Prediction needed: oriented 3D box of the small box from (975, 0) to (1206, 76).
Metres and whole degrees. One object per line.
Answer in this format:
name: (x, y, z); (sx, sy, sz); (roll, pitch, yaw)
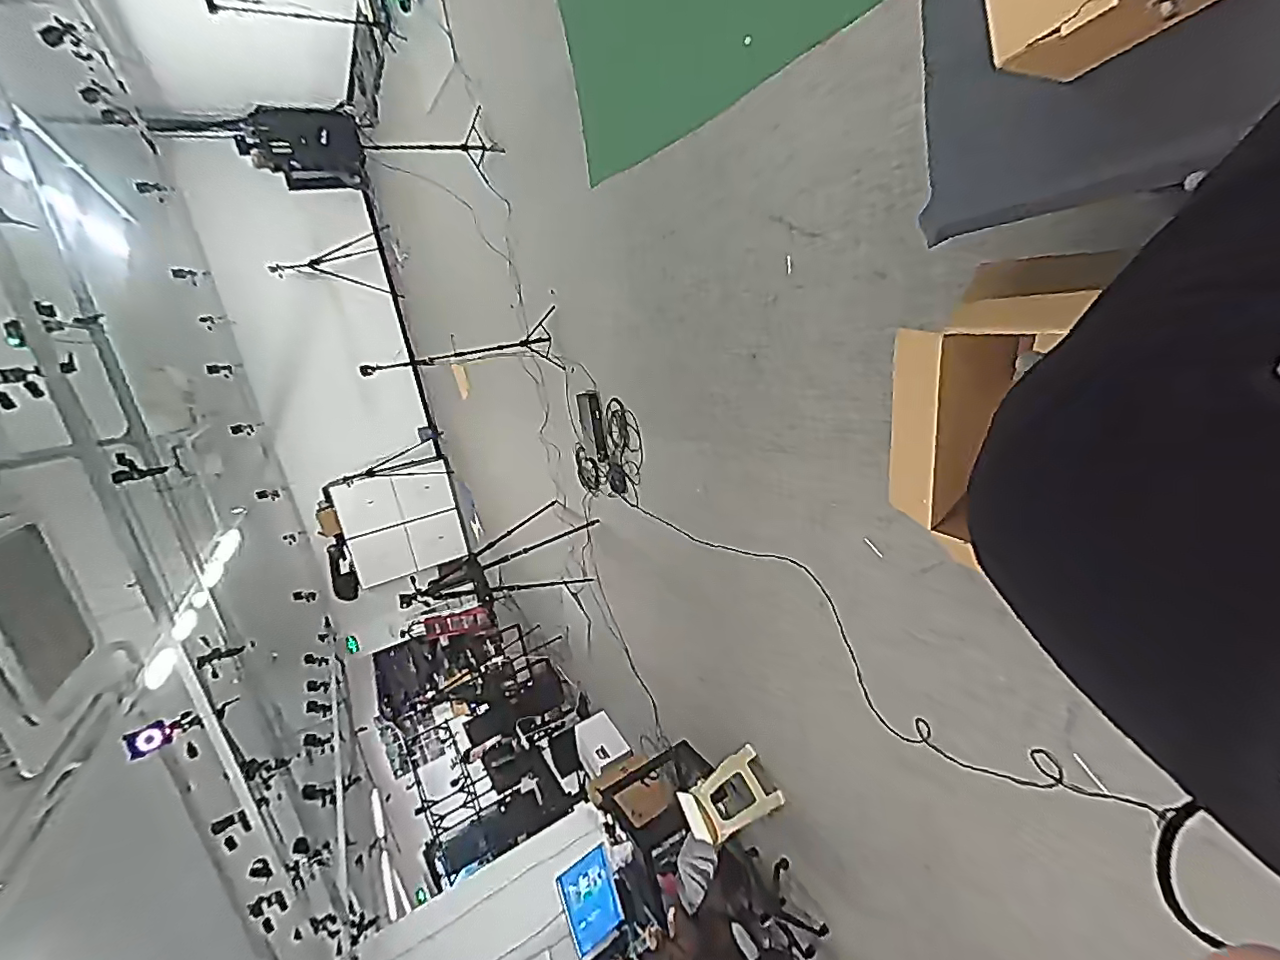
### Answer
small box: (0.462, -0.543, 0.540); (0.168, 0.176, 0.179); (-2, 102, 60)
